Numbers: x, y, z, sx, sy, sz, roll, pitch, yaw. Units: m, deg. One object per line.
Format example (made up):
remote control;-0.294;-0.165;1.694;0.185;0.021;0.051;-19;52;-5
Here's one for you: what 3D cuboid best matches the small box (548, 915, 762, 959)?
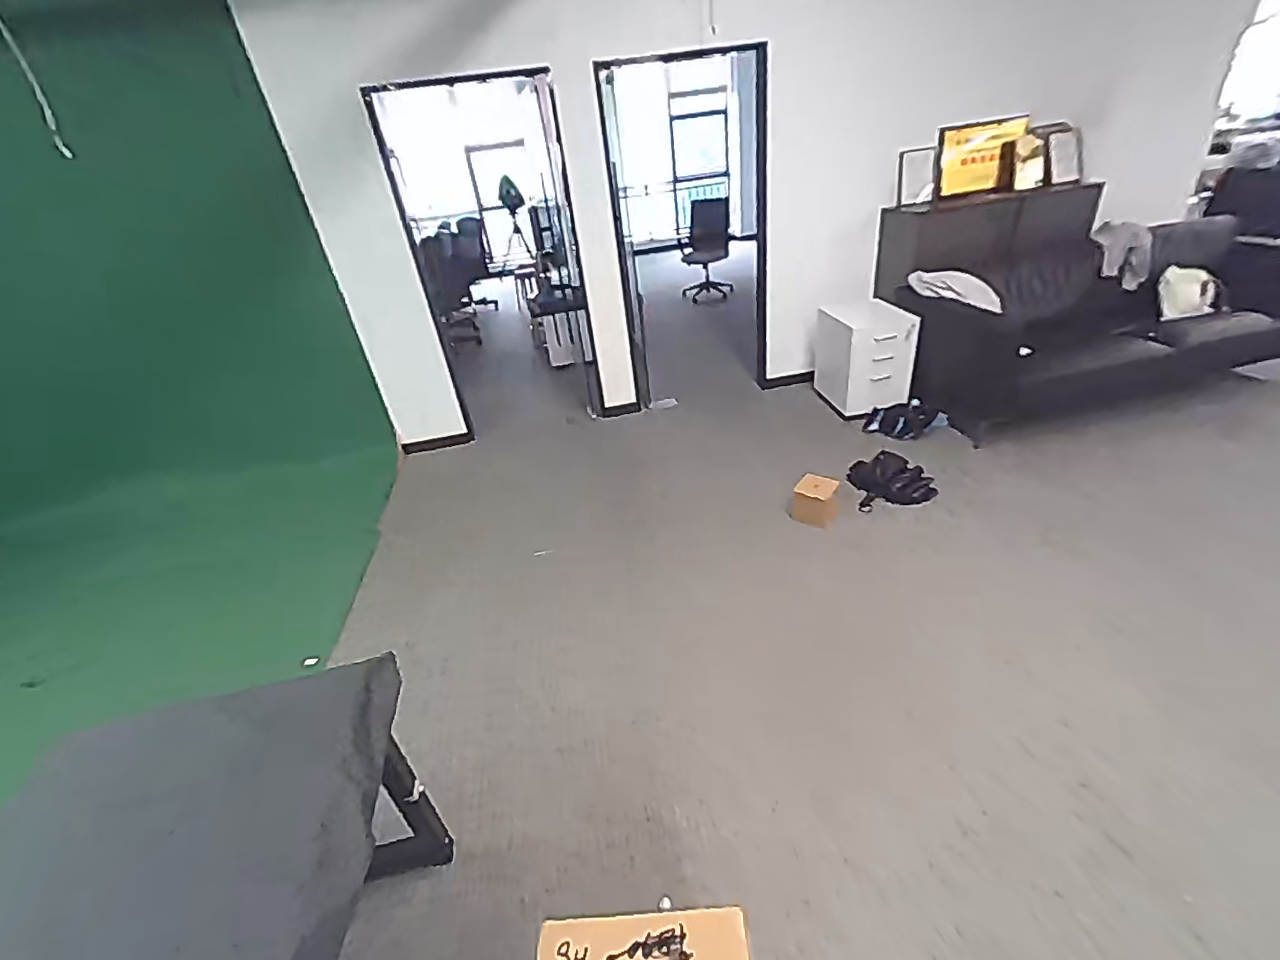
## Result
small box;0.021;0.462;0.410;0.168;0.176;0.179;-6;38;4
